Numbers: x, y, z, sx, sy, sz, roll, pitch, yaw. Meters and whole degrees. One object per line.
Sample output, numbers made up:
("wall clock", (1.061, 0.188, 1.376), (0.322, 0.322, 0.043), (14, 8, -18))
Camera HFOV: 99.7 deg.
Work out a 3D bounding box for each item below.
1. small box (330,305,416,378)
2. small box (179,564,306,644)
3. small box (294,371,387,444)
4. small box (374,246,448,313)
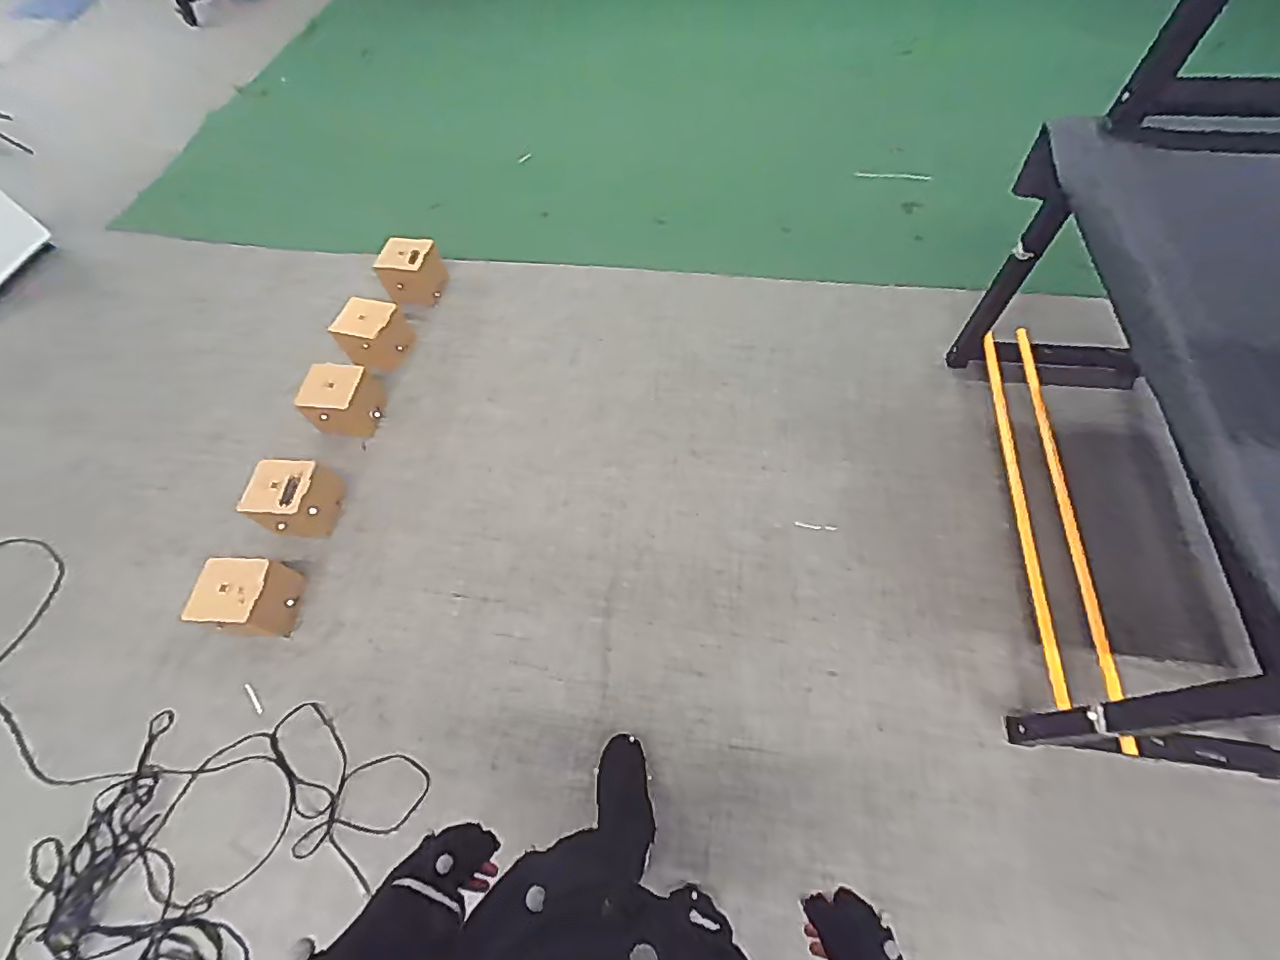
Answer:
("small box", (-0.919, -0.477, 1.877), (0.179, 0.176, 0.168), (12, 62, 9))
("small box", (-1.034, 0.329, 1.422), (0.179, 0.176, 0.168), (1, 61, 4))
("small box", (-0.953, -0.231, 1.738), (0.179, 0.176, 0.168), (5, 62, 4))
("small box", (-0.849, -0.749, 2.029), (0.179, 0.176, 0.168), (7, 61, 8))
